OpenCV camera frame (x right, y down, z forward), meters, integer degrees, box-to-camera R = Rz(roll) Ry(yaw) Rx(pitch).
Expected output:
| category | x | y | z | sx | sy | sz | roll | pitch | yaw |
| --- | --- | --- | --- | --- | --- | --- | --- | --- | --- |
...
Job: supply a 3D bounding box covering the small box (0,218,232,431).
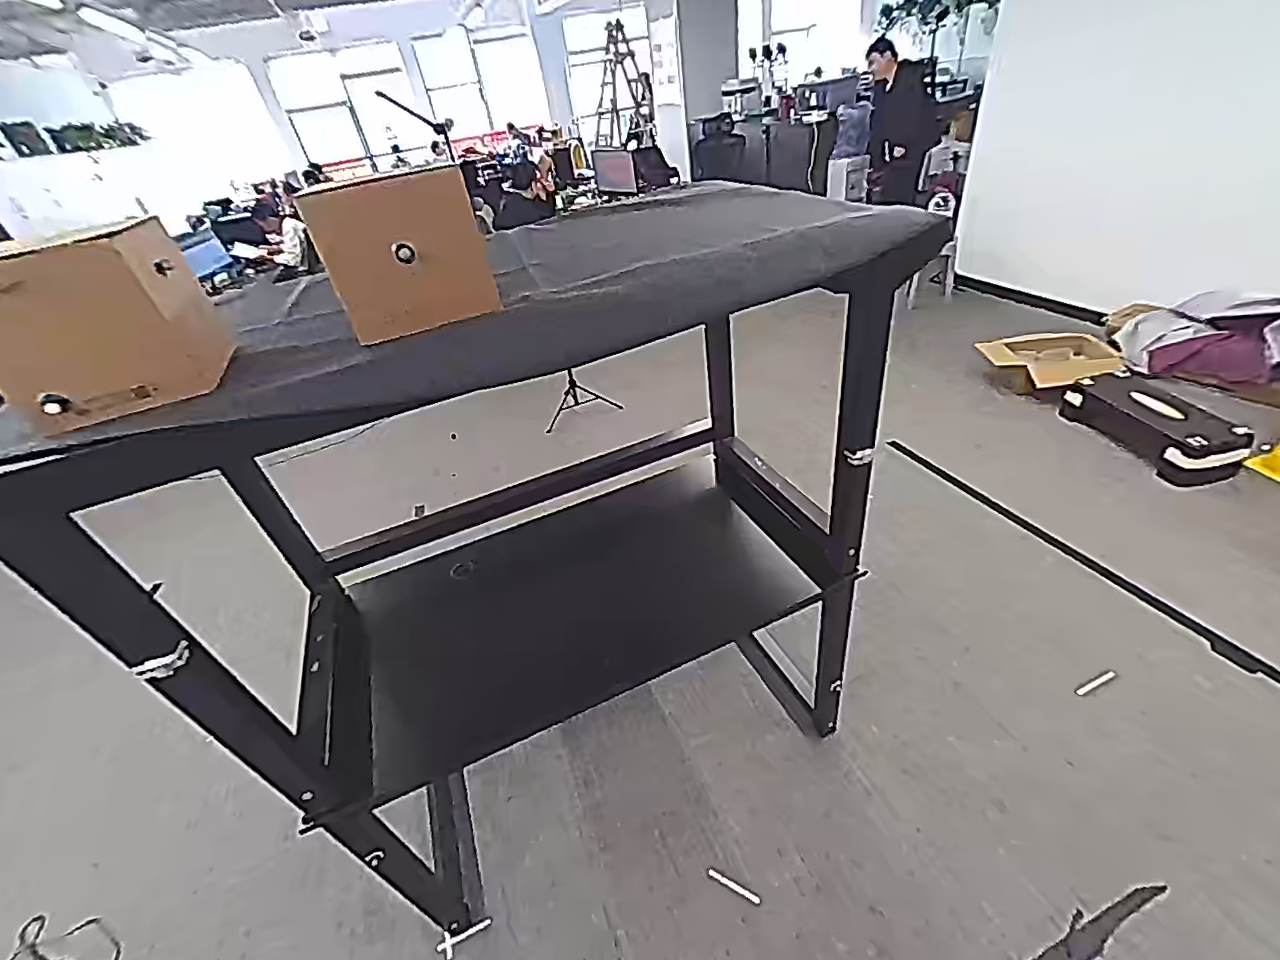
| category | x | y | z | sx | sy | sz | roll | pitch | yaw |
| --- | --- | --- | --- | --- | --- | --- | --- | --- | --- |
| small box | -0.595 | -0.172 | 0.599 | 0.168 | 0.176 | 0.179 | -21 | 37 | -15 |
